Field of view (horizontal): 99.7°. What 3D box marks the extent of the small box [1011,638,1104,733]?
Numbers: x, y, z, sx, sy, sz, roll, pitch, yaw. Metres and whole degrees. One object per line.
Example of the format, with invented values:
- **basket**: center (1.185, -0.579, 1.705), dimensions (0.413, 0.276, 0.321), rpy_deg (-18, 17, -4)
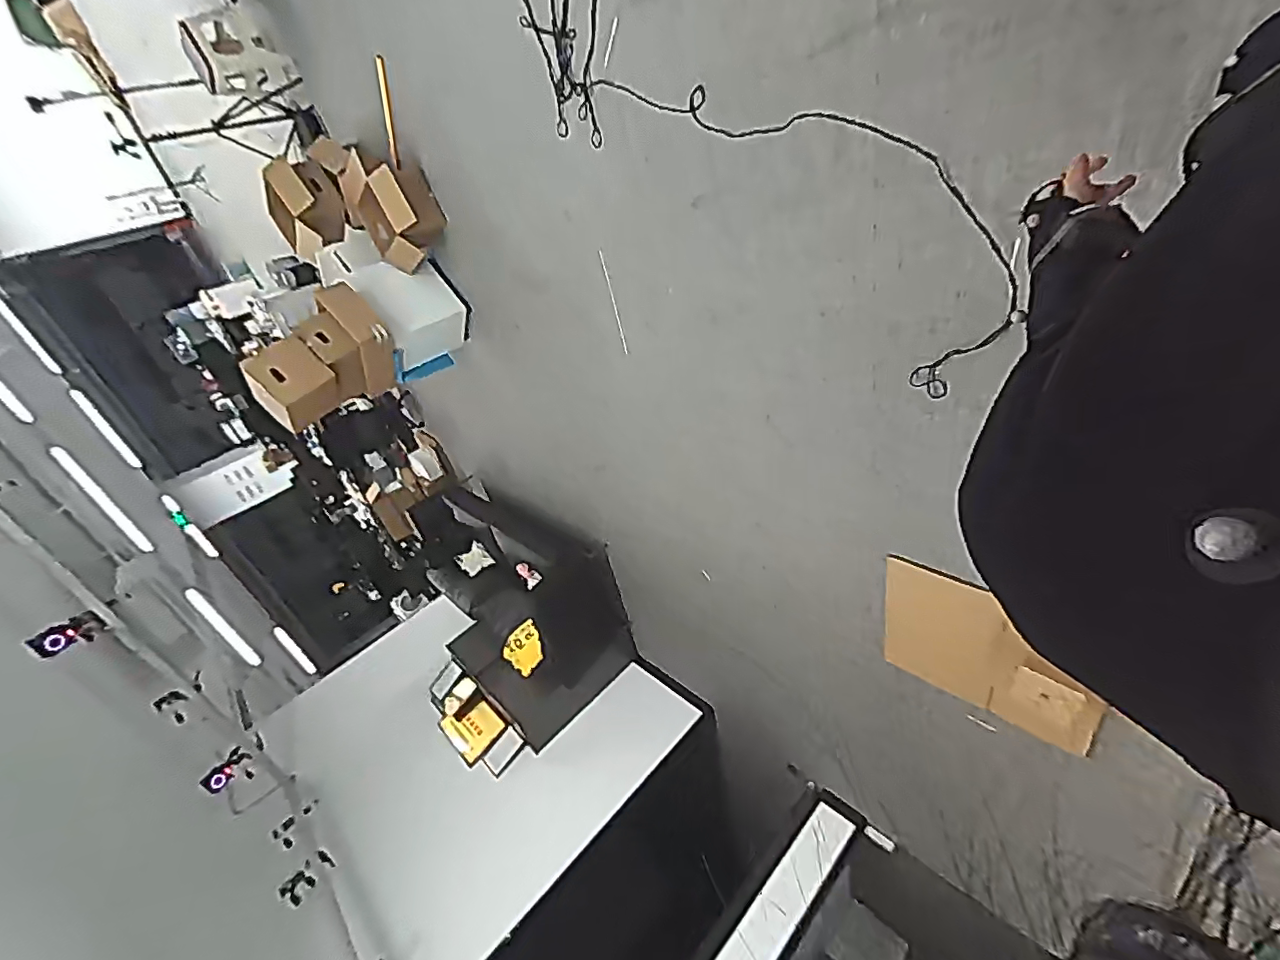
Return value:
- **small box**: center (1.279, 0.620, 1.655), dimensions (0.168, 0.176, 0.179), rpy_deg (27, 140, 40)
